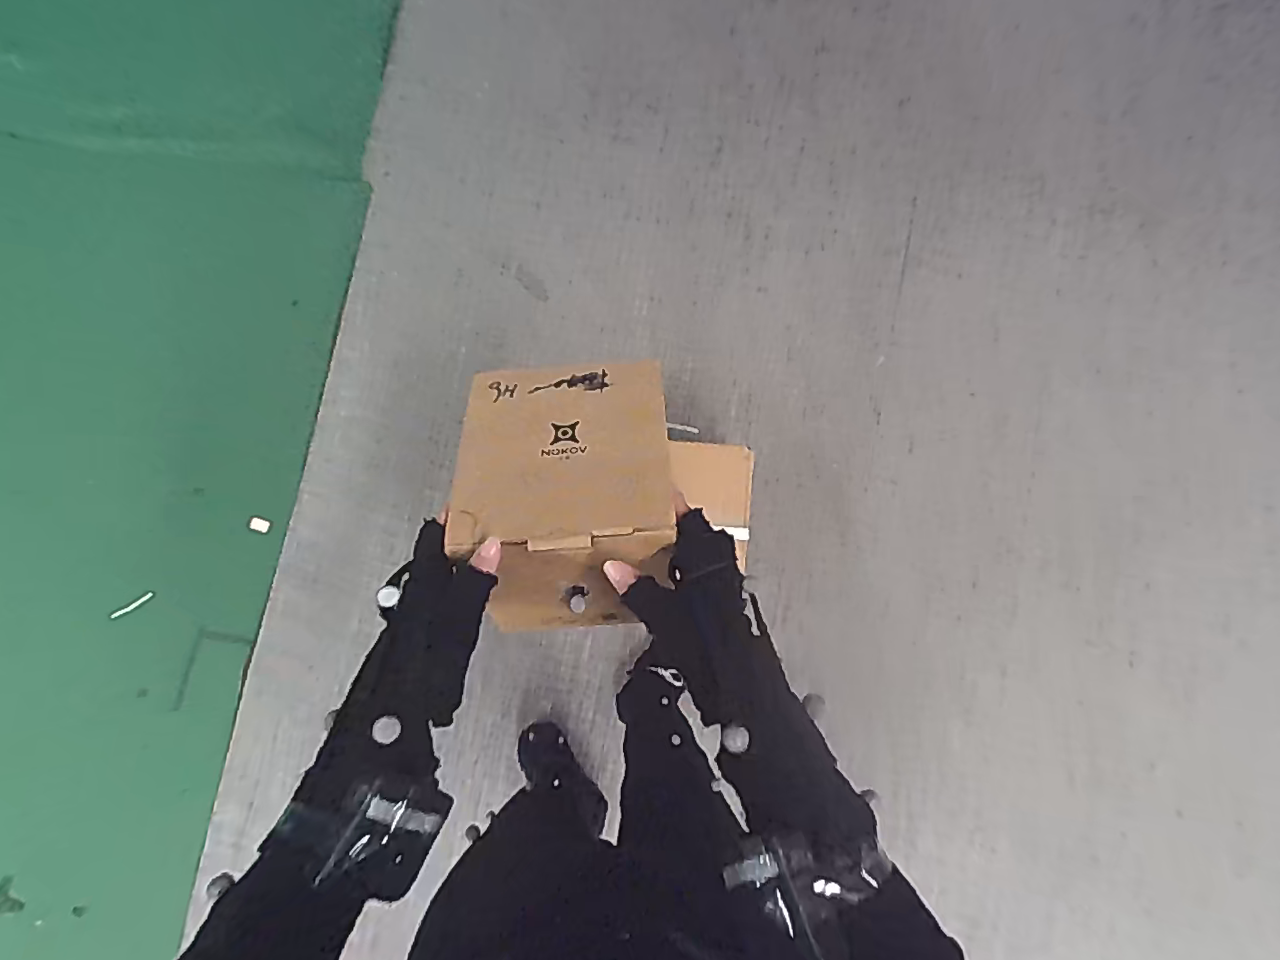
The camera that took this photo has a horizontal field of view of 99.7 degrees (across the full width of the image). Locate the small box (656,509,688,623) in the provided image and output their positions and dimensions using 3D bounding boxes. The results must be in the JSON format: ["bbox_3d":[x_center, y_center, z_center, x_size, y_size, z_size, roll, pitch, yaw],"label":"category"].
[{"bbox_3d":[-0.017,0.125,0.872,0.179,0.176,0.168,6,86,4],"label":"small box"}]

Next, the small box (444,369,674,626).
[{"bbox_3d":[-0.058,0.025,0.493,0.168,0.176,0.179,-4,55,1],"label":"small box"}]
